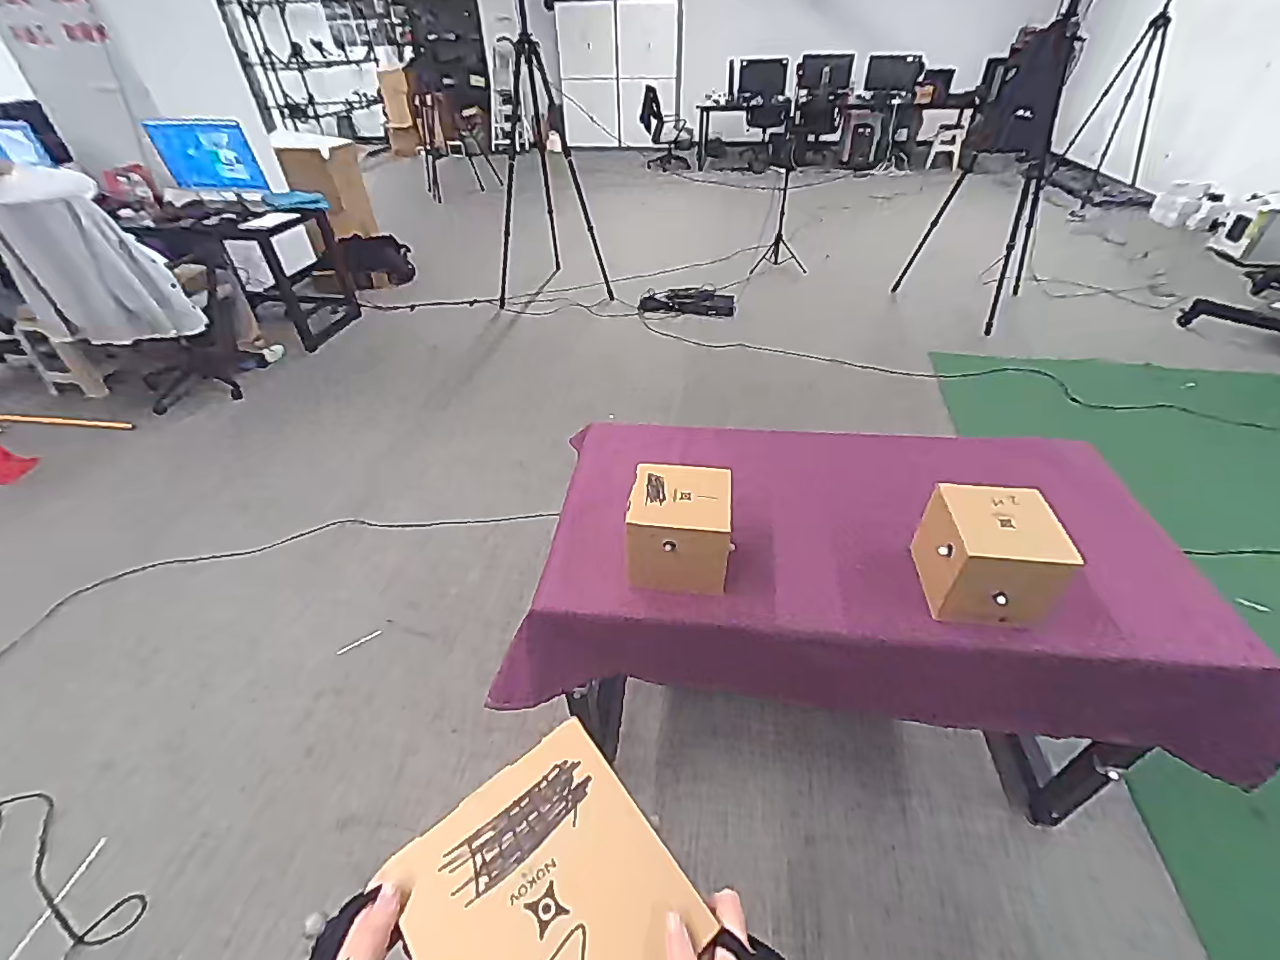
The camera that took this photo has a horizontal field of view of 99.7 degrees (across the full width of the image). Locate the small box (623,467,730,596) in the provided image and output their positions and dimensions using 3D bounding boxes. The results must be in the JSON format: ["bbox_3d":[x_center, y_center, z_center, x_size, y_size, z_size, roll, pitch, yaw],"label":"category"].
[{"bbox_3d":[0.070,0.096,0.996,0.179,0.176,0.168,5,40,7],"label":"small box"}]

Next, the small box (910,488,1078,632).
[{"bbox_3d":[0.588,0.137,0.927,0.168,0.176,0.179,5,40,8],"label":"small box"}]
